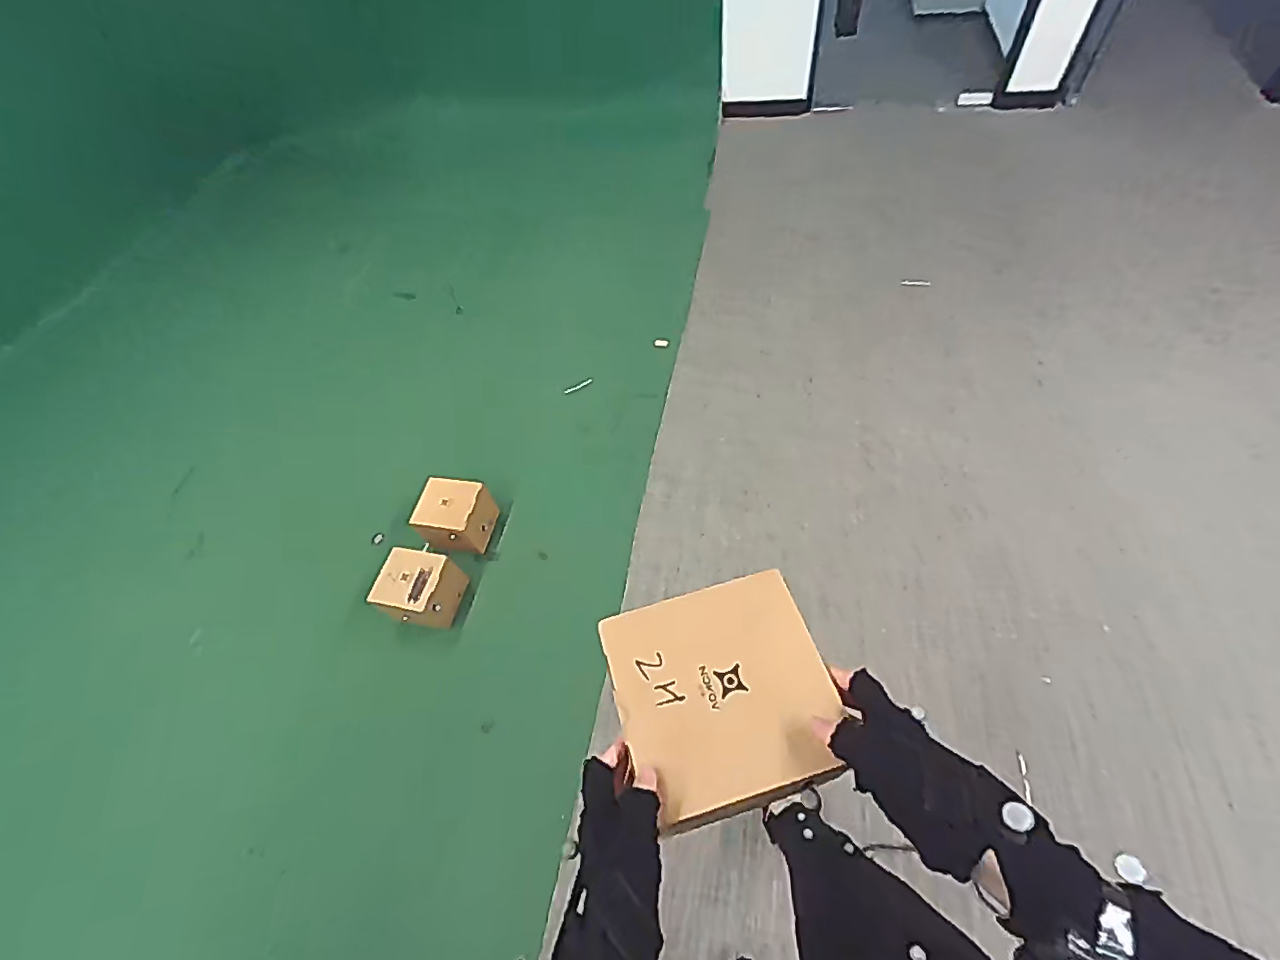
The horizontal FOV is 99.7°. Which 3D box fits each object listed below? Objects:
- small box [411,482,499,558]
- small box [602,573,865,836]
[{"bbox_3d":[-0.560,0.125,1.664,0.179,0.176,0.168,7,57,10],"label":"small box"},{"bbox_3d":[0.074,0.215,0.508,0.179,0.176,0.168,-15,54,-5],"label":"small box"}]
